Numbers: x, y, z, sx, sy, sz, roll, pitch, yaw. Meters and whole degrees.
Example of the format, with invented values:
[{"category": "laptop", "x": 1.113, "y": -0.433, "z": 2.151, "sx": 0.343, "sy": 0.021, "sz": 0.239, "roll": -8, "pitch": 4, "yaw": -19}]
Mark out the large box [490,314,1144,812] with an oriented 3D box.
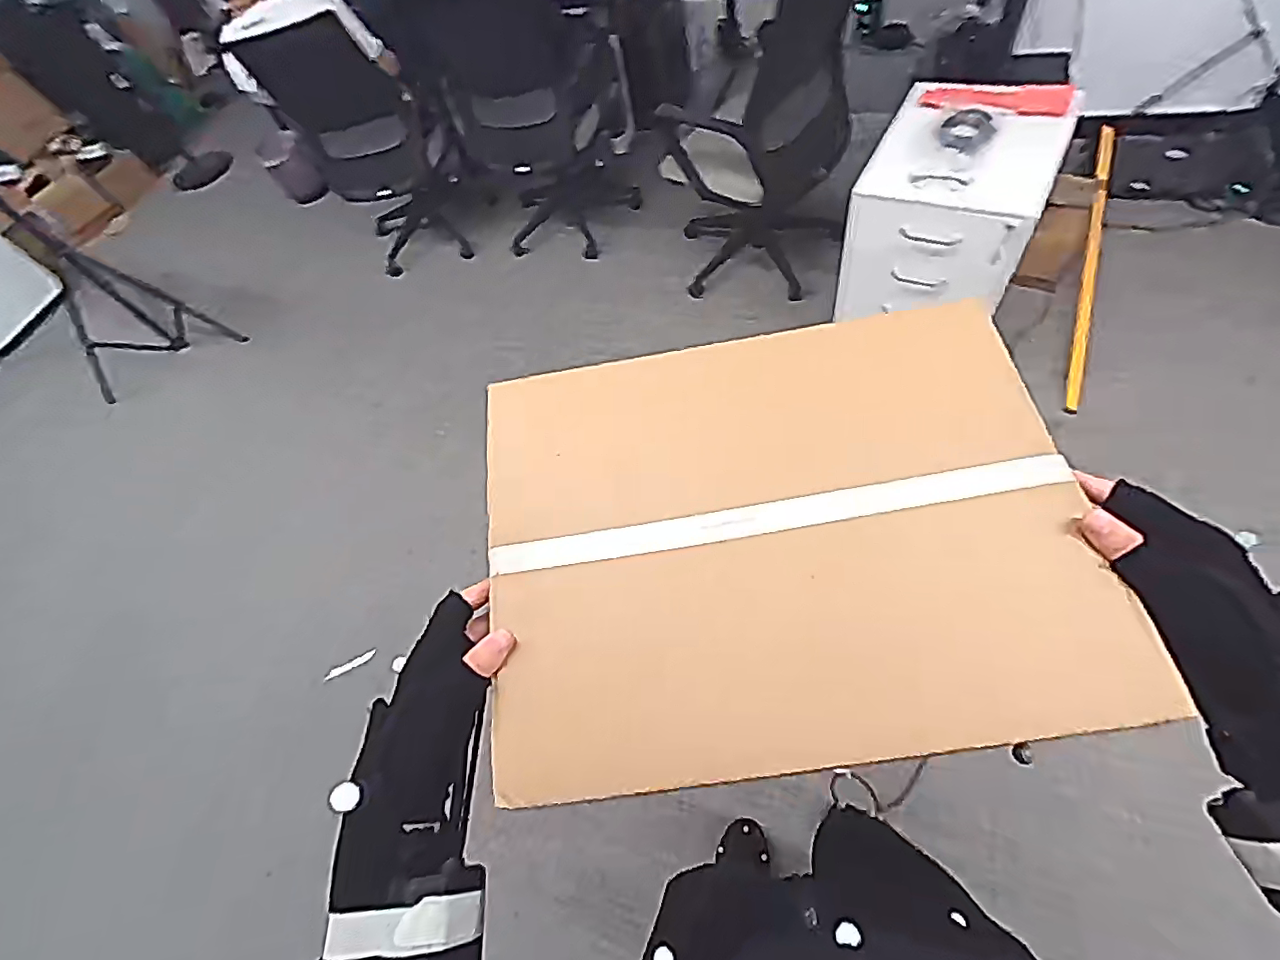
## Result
[{"category": "large box", "x": 0.106, "y": 0.092, "z": 0.526, "sx": 0.408, "sy": 0.320, "sz": 0.320, "roll": -10, "pitch": 64, "yaw": 2}]
